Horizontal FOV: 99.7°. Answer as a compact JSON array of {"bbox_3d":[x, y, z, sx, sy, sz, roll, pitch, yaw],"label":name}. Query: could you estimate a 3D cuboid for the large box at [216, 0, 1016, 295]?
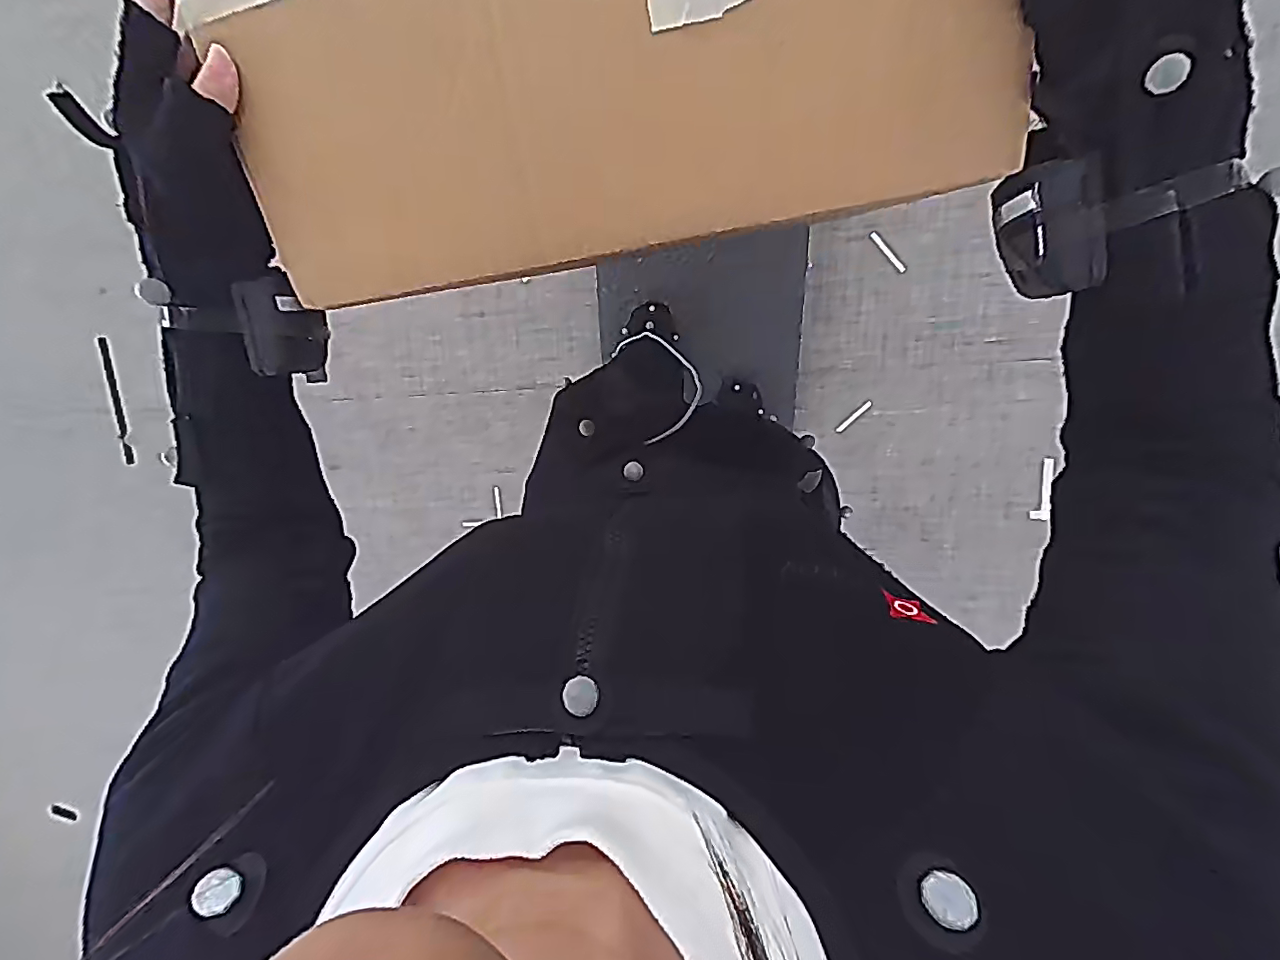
[{"bbox_3d":[-0.017,-0.339,0.388,0.408,0.320,0.320,-6,113,12],"label":"large box"}]
